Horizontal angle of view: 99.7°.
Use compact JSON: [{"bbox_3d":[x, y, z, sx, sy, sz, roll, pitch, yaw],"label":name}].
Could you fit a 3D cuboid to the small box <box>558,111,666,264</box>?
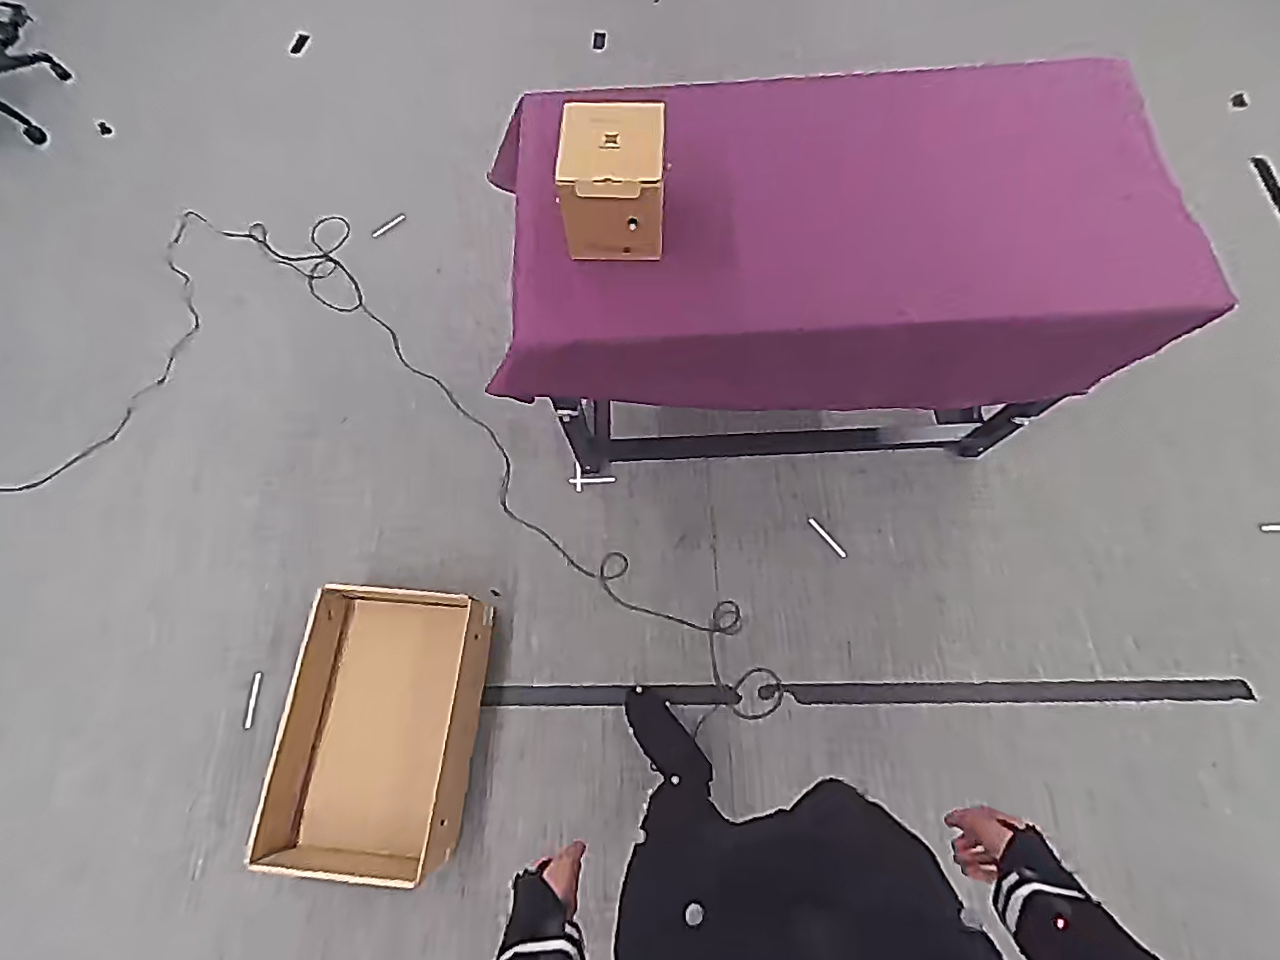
[{"bbox_3d":[-0.040,-0.499,0.939,0.168,0.176,0.179,2,70,2],"label":"small box"}]
